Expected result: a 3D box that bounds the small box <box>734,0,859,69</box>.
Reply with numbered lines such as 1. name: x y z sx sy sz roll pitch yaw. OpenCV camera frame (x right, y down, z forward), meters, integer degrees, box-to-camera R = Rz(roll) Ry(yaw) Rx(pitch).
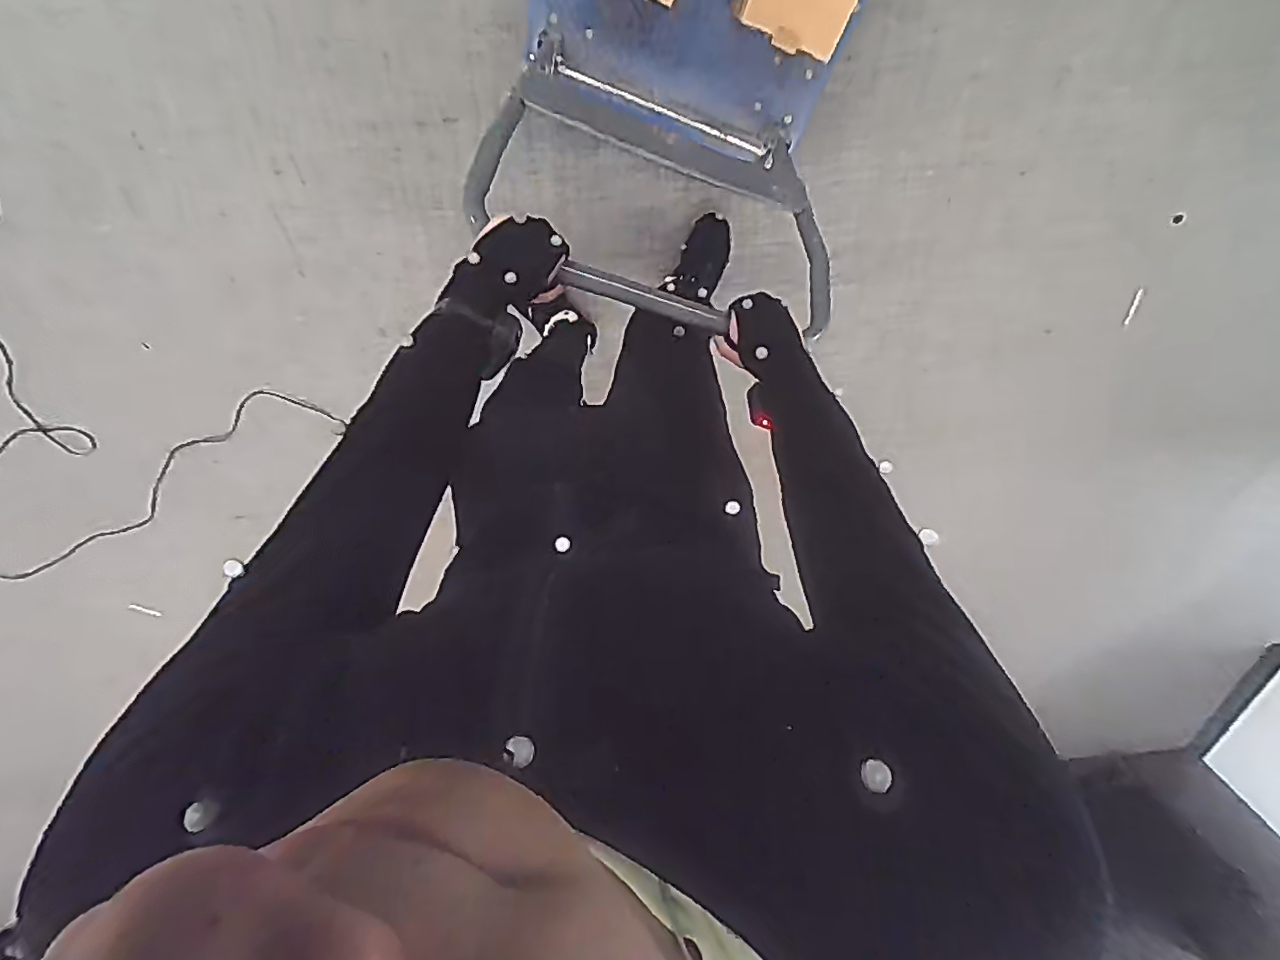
1. small box: 0.267 -0.830 0.896 0.168 0.176 0.179 15 134 -13
